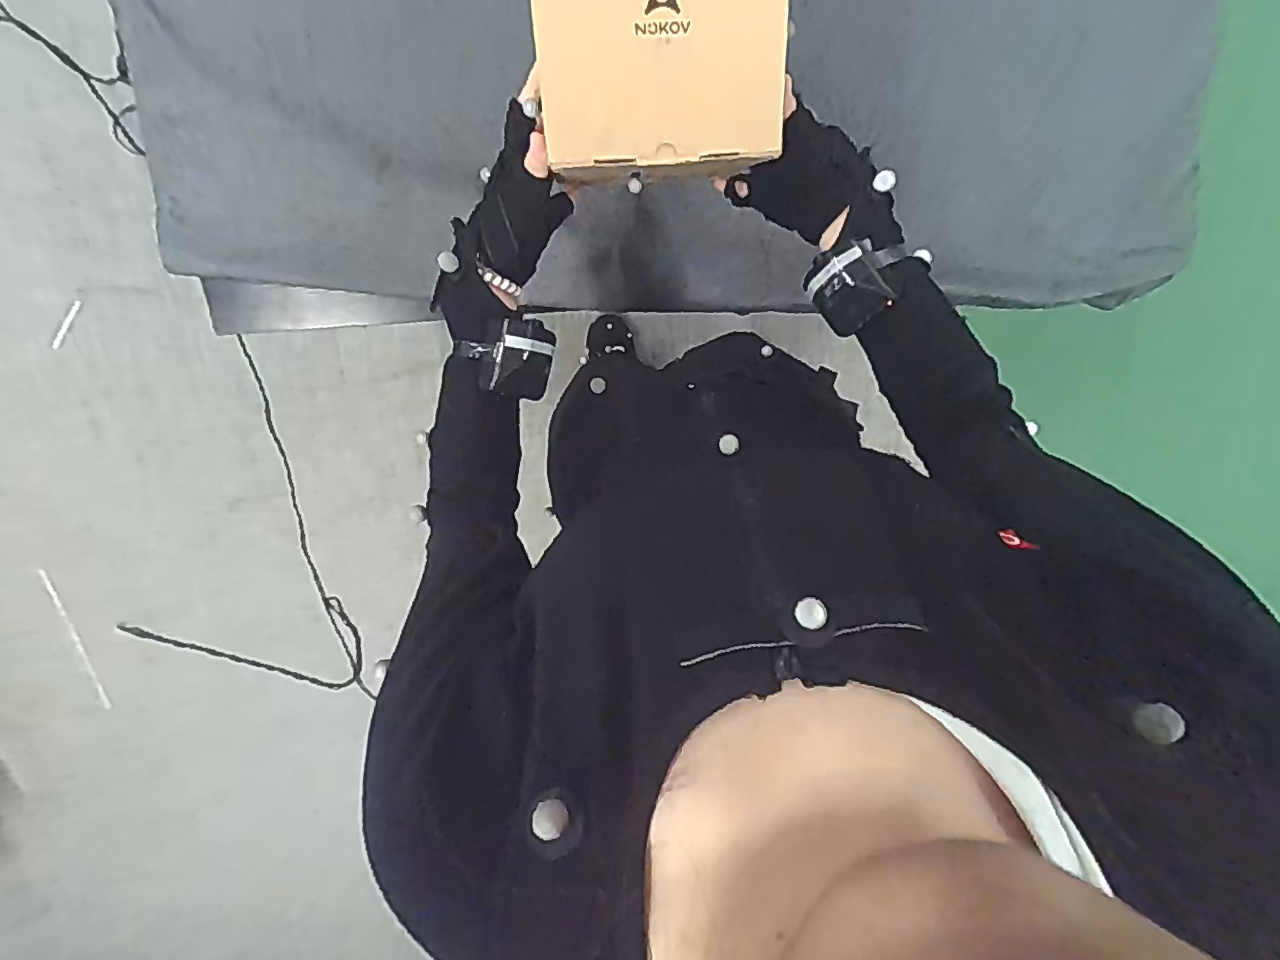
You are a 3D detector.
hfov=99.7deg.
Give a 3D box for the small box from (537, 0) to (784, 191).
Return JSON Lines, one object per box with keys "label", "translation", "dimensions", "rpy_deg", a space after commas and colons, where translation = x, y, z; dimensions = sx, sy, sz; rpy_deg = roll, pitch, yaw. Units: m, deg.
{"label": "small box", "translation": [0.006, -0.335, 0.425], "dimensions": [0.168, 0.176, 0.179], "rpy_deg": [-5, 116, -4]}
